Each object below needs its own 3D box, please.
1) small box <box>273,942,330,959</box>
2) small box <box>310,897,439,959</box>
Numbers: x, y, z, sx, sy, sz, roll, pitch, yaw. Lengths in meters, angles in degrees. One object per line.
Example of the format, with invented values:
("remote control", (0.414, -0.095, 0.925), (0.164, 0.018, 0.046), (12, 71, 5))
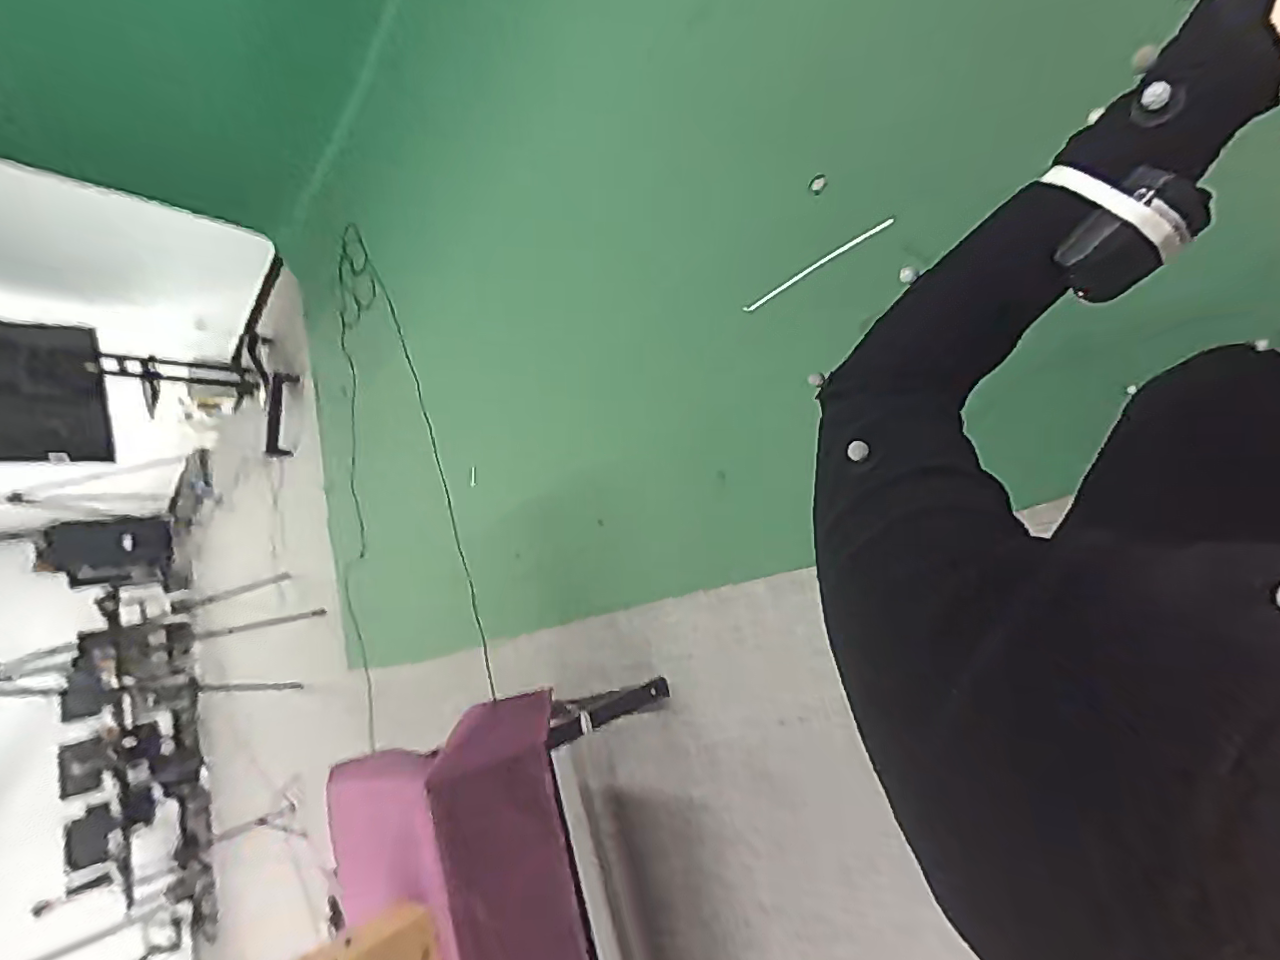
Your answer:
("small box", (-0.599, 0.909, 0.876), (0.168, 0.176, 0.179), (-31, 71, 37))
("small box", (-0.489, 0.910, 0.999), (0.179, 0.176, 0.168), (-30, 70, 38))
